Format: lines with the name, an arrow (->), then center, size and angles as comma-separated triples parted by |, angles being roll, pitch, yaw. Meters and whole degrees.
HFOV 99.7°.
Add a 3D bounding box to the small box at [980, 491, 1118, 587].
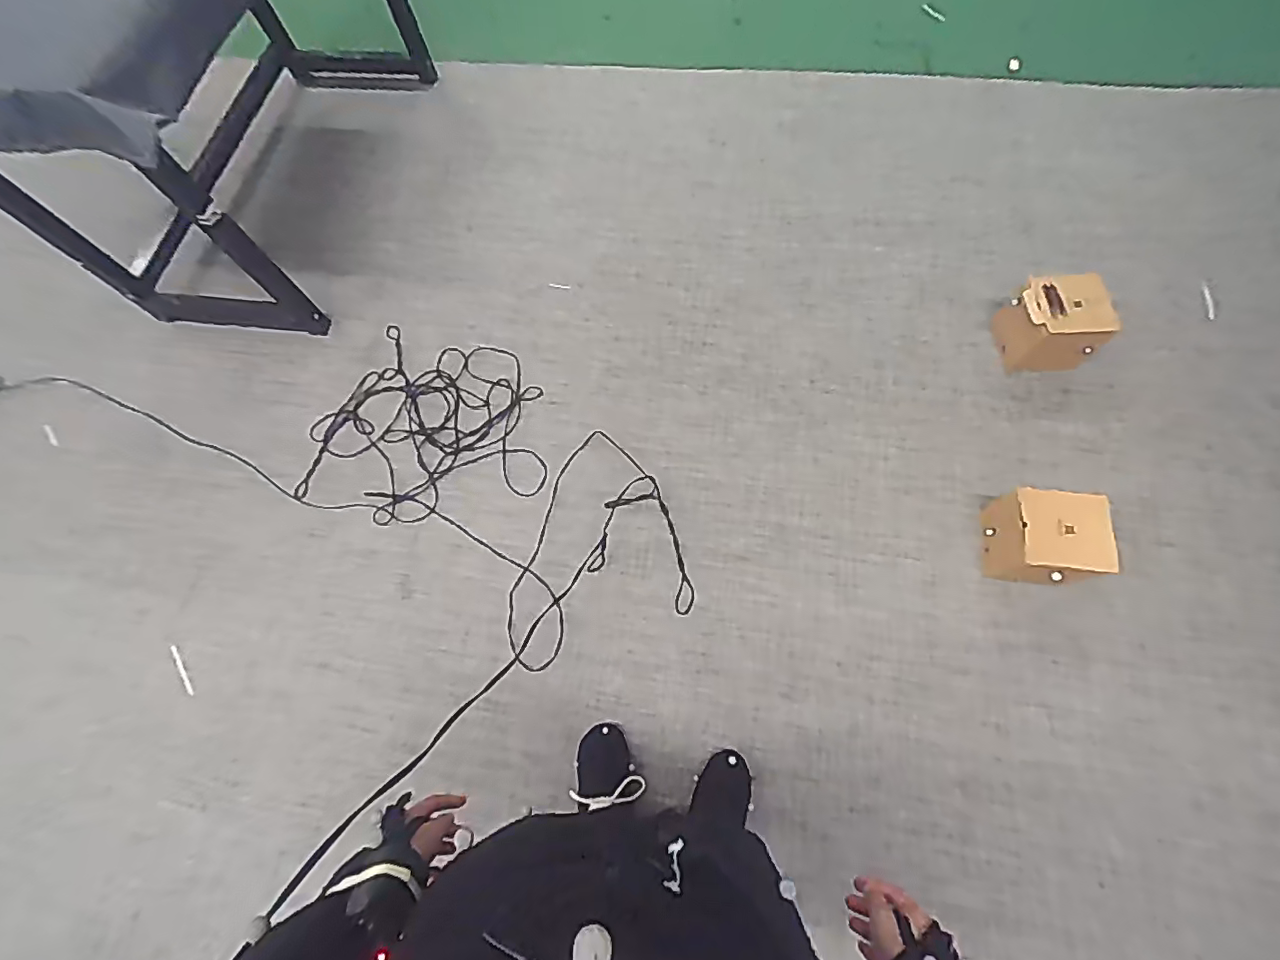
small box -> 0.883, 0.136, 1.185 | 0.179, 0.176, 0.168 | 5, 70, 7
